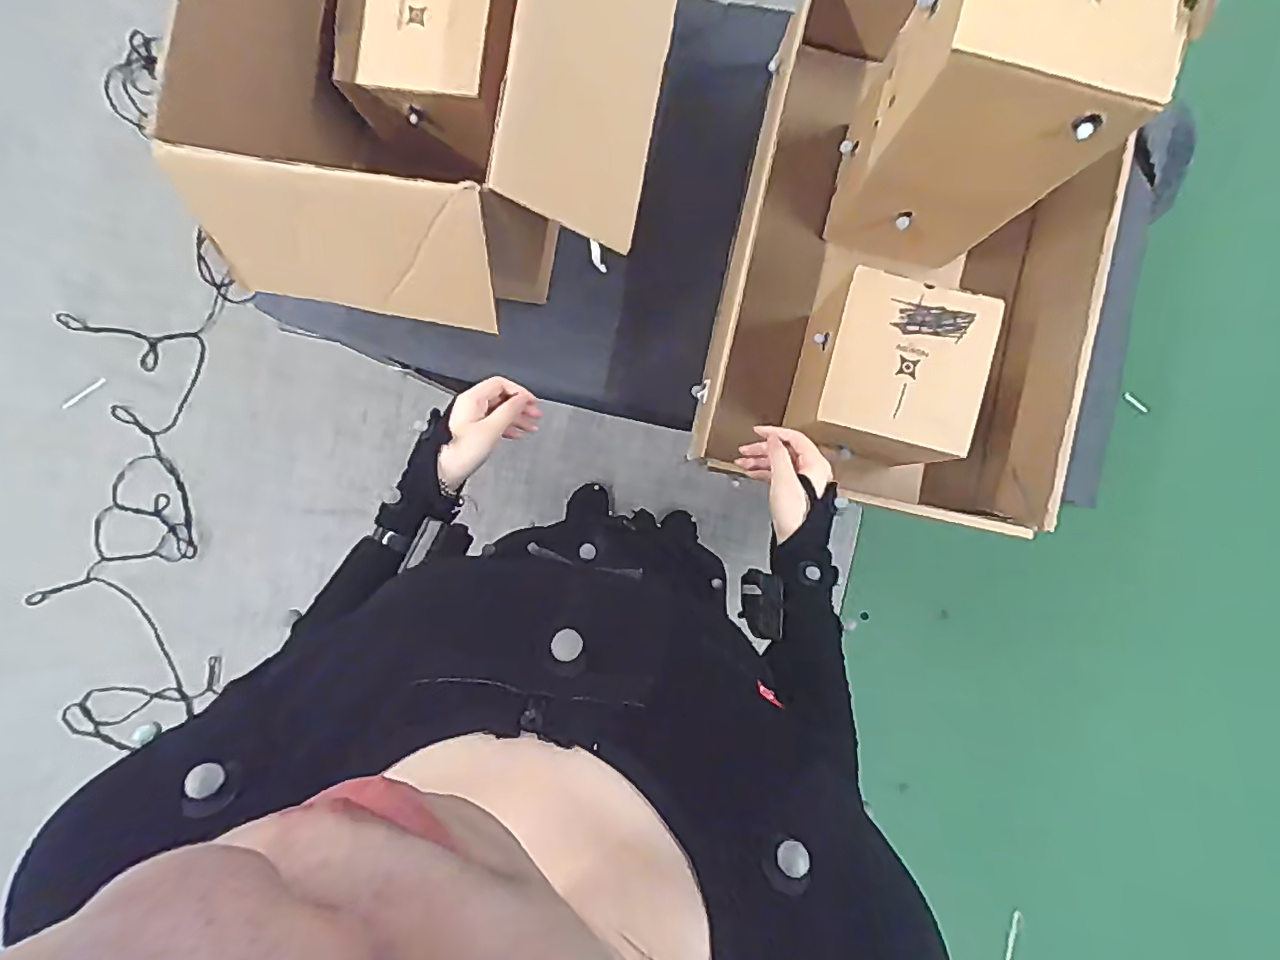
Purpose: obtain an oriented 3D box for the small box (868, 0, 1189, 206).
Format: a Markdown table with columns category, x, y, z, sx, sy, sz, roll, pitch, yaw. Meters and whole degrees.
| category | x | y | z | sx | sy | sz | roll | pitch | yaw |
| --- | --- | --- | --- | --- | --- | --- | --- | --- | --- |
| small box | 0.341 | -0.386 | 0.500 | 0.179 | 0.176 | 0.168 | 15 | 91 | 0 |
